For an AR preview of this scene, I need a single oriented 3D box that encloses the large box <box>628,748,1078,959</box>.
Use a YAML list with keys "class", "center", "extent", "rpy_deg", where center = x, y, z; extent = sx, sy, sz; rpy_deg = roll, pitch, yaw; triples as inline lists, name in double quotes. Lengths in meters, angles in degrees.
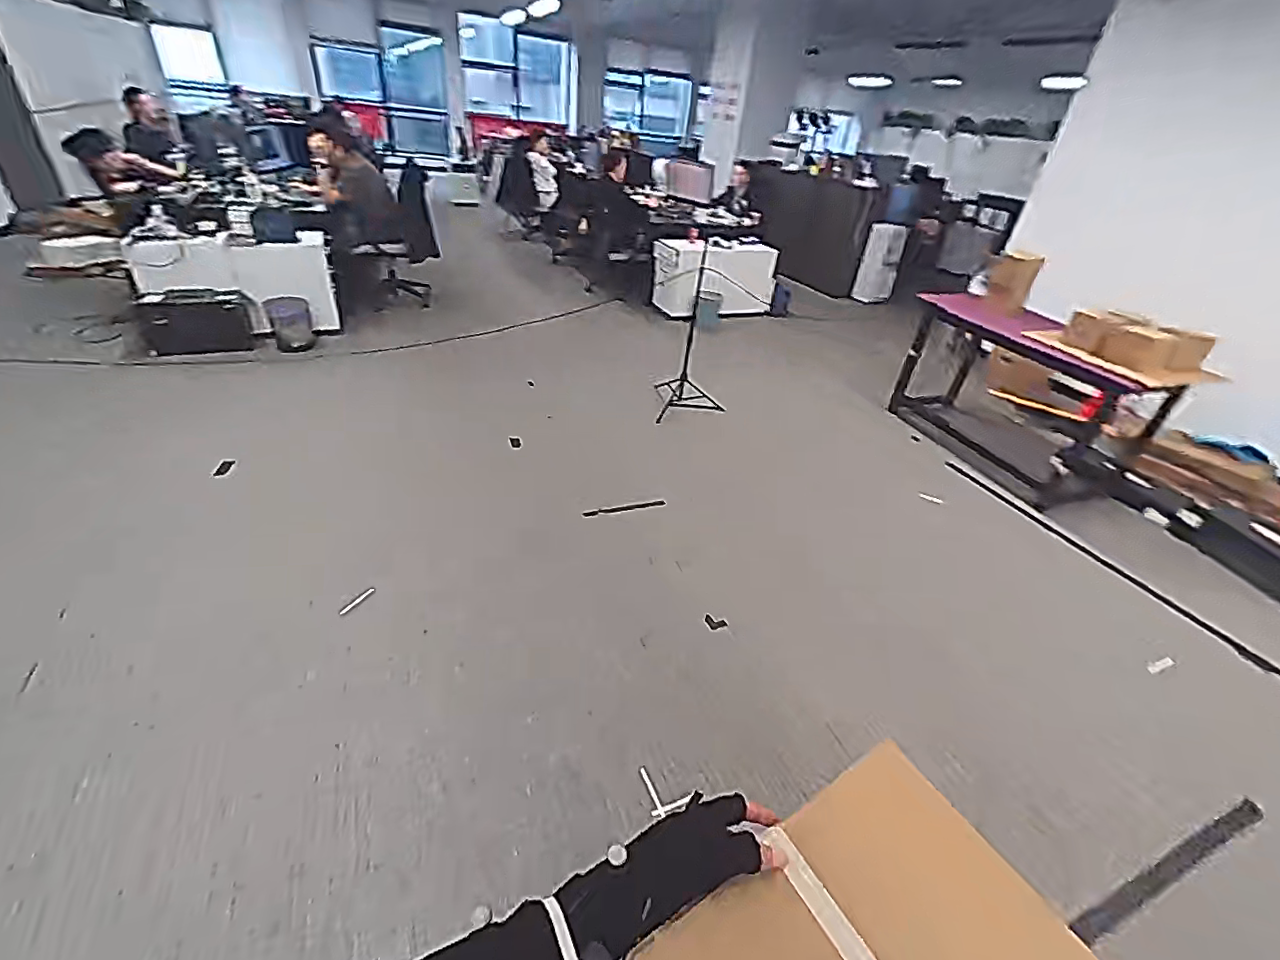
- class: "large box"
  center: [0.215, 0.544, 0.468]
  extent: [0.320, 0.320, 0.408]
  rpy_deg: [-23, 48, -25]
